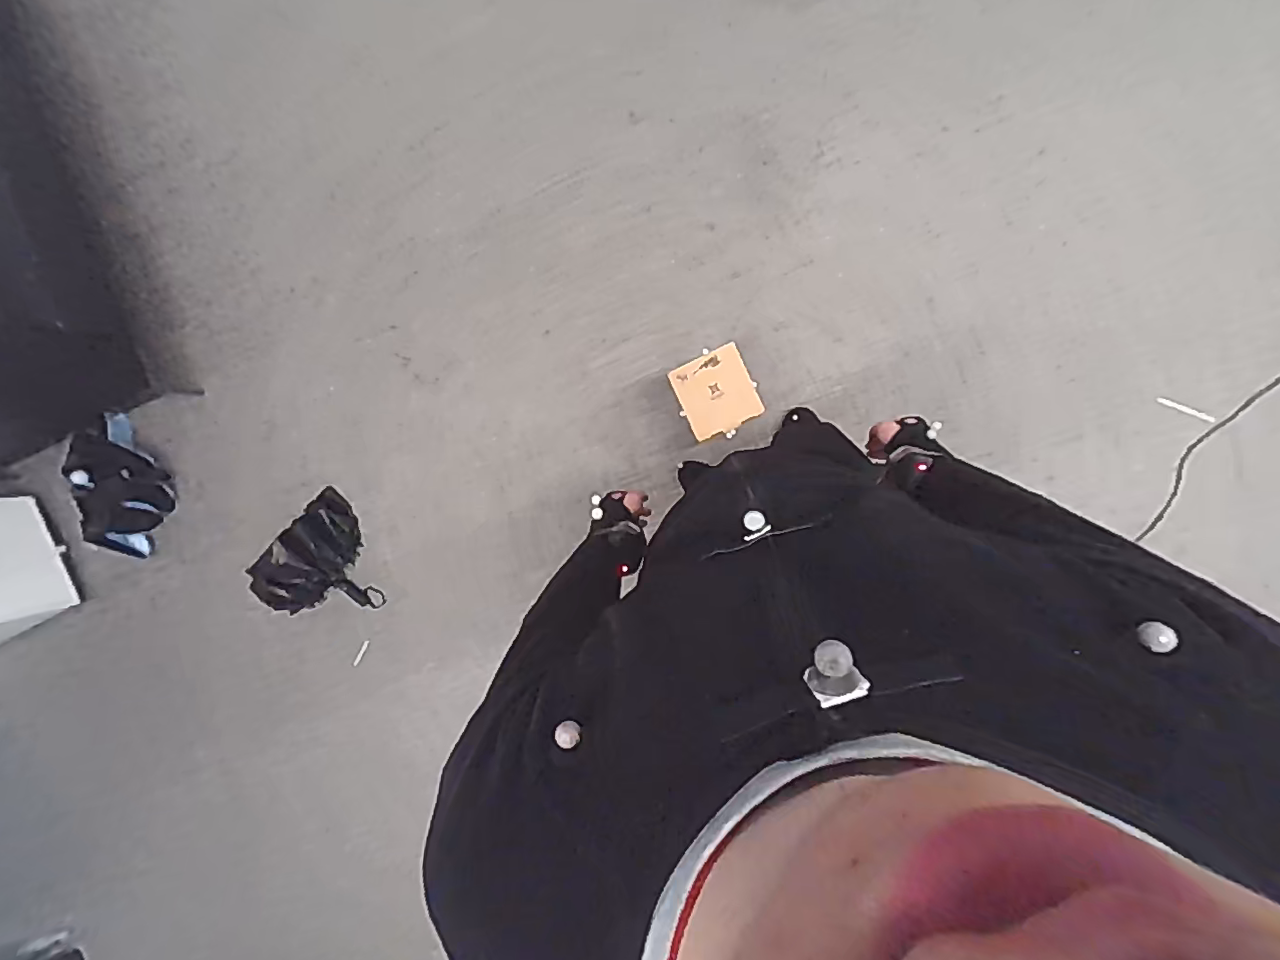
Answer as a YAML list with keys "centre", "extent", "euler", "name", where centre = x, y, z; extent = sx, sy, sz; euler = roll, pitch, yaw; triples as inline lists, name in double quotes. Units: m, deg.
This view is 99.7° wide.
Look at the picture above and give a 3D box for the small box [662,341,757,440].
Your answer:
- centre: [0.170, -0.210, 1.298]
  extent: [0.168, 0.176, 0.179]
  euler: [-25, 91, 10]
  name: "small box"
